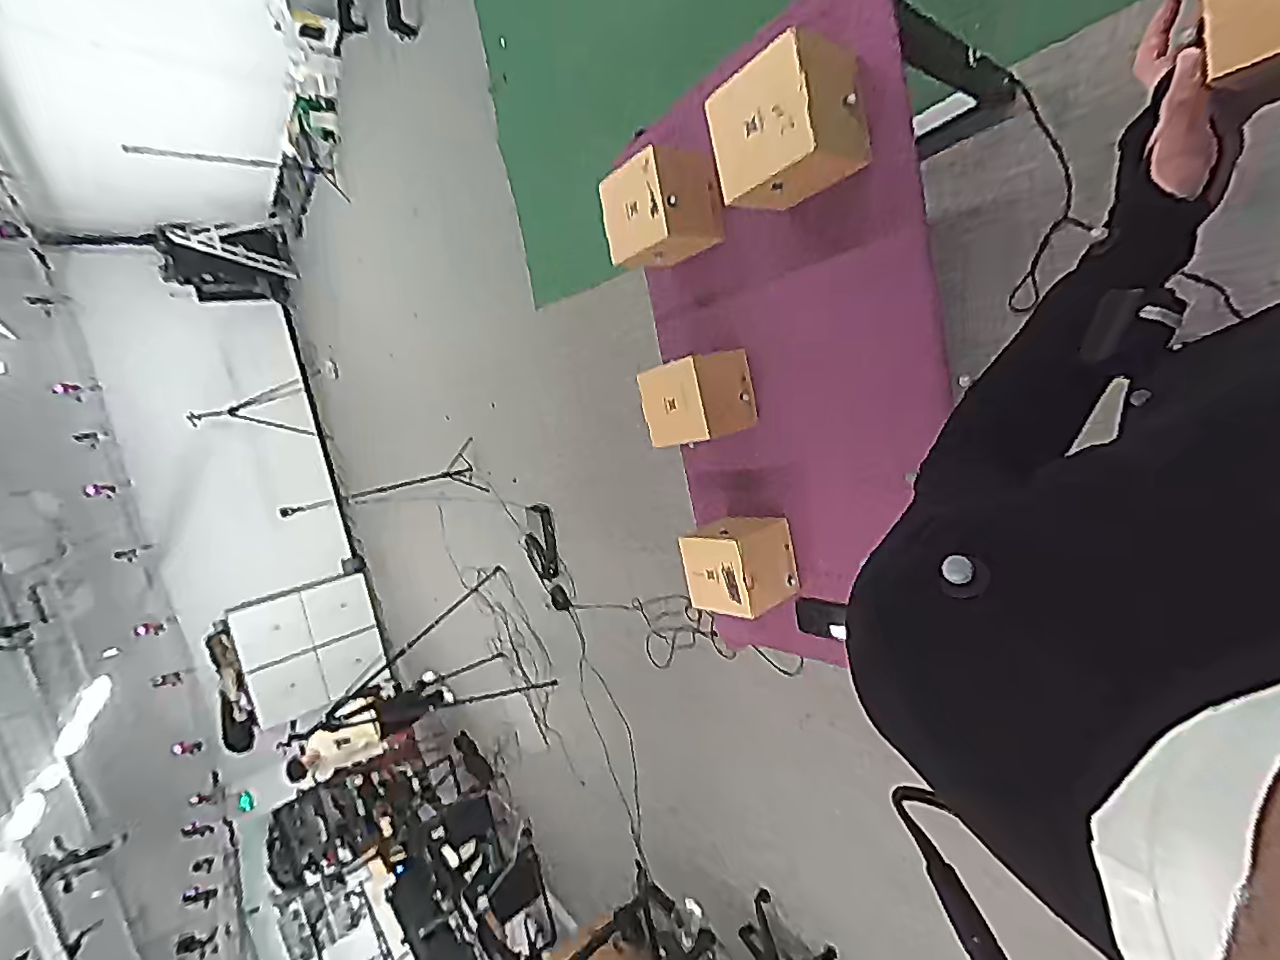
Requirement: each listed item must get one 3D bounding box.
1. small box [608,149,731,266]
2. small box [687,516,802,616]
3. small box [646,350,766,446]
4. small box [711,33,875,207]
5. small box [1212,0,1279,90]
[{"bbox_3d":[0.061,-0.552,1.123,0.179,0.176,0.168,-2,103,52],"label":"small box"},{"bbox_3d":[0.236,0.178,1.185,0.179,0.176,0.168,-5,99,53],"label":"small box"},{"bbox_3d":[0.143,-0.175,1.168,0.179,0.176,0.168,-5,100,52],"label":"small box"},{"bbox_3d":[0.247,-0.561,0.876,0.179,0.176,0.168,-5,101,52],"label":"small box"},{"bbox_3d":[0.445,-0.362,0.306,0.168,0.176,0.179,-2,107,51],"label":"small box"}]
